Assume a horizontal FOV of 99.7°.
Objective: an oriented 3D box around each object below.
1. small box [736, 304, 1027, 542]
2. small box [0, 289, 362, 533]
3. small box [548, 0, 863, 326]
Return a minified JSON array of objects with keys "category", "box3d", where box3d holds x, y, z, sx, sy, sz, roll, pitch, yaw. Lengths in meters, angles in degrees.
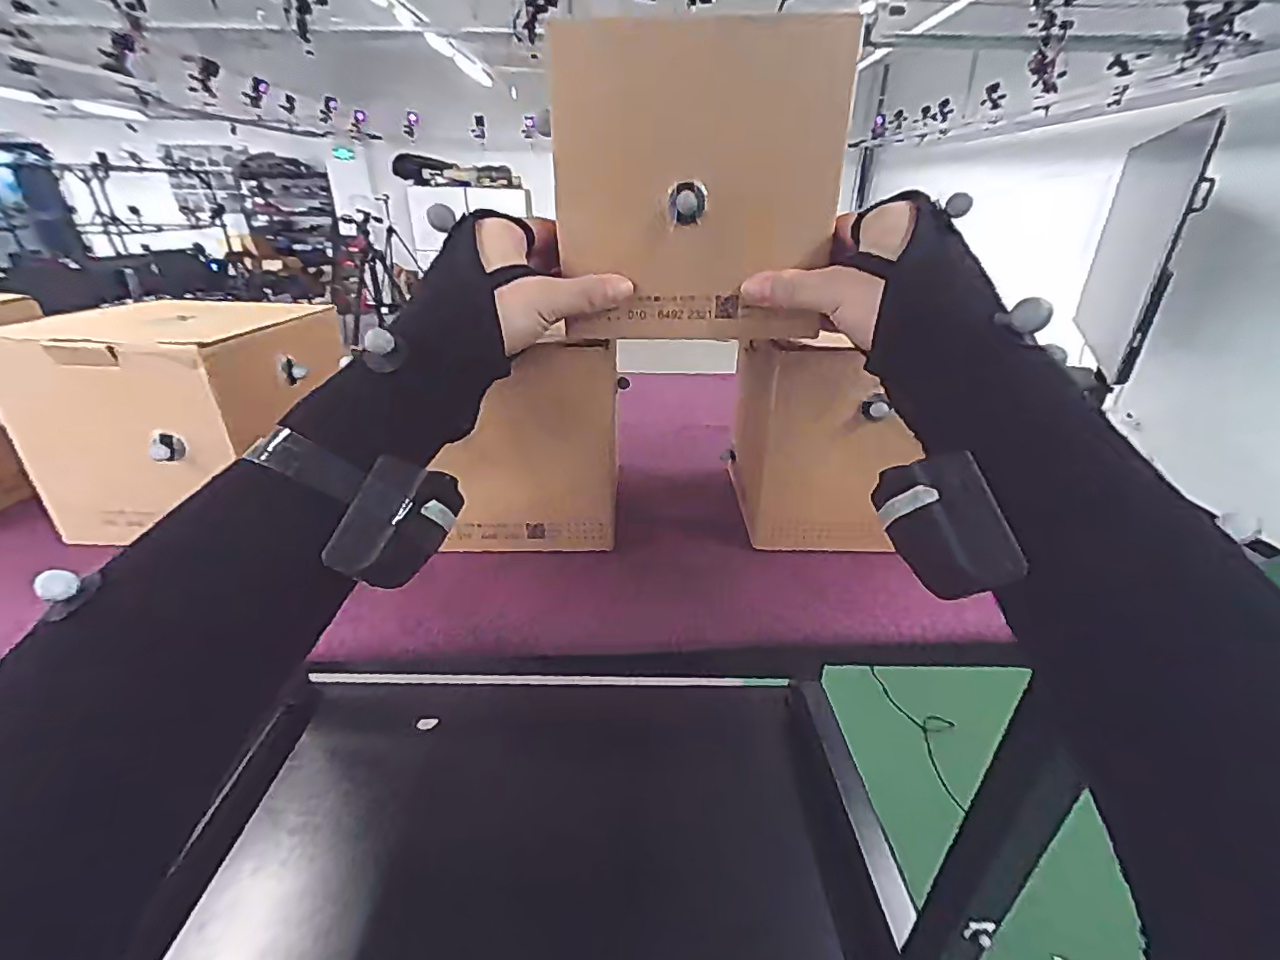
[{"category":"small box","box3d":[0.183,-0.057,0.476,0.179,0.176,0.168,1,26,0]},{"category":"small box","box3d":[-0.370,-0.067,0.471,0.168,0.176,0.179,3,26,1]},{"category":"small box","box3d":[0.039,-0.209,0.385,0.168,0.176,0.179,1,28,3]}]
